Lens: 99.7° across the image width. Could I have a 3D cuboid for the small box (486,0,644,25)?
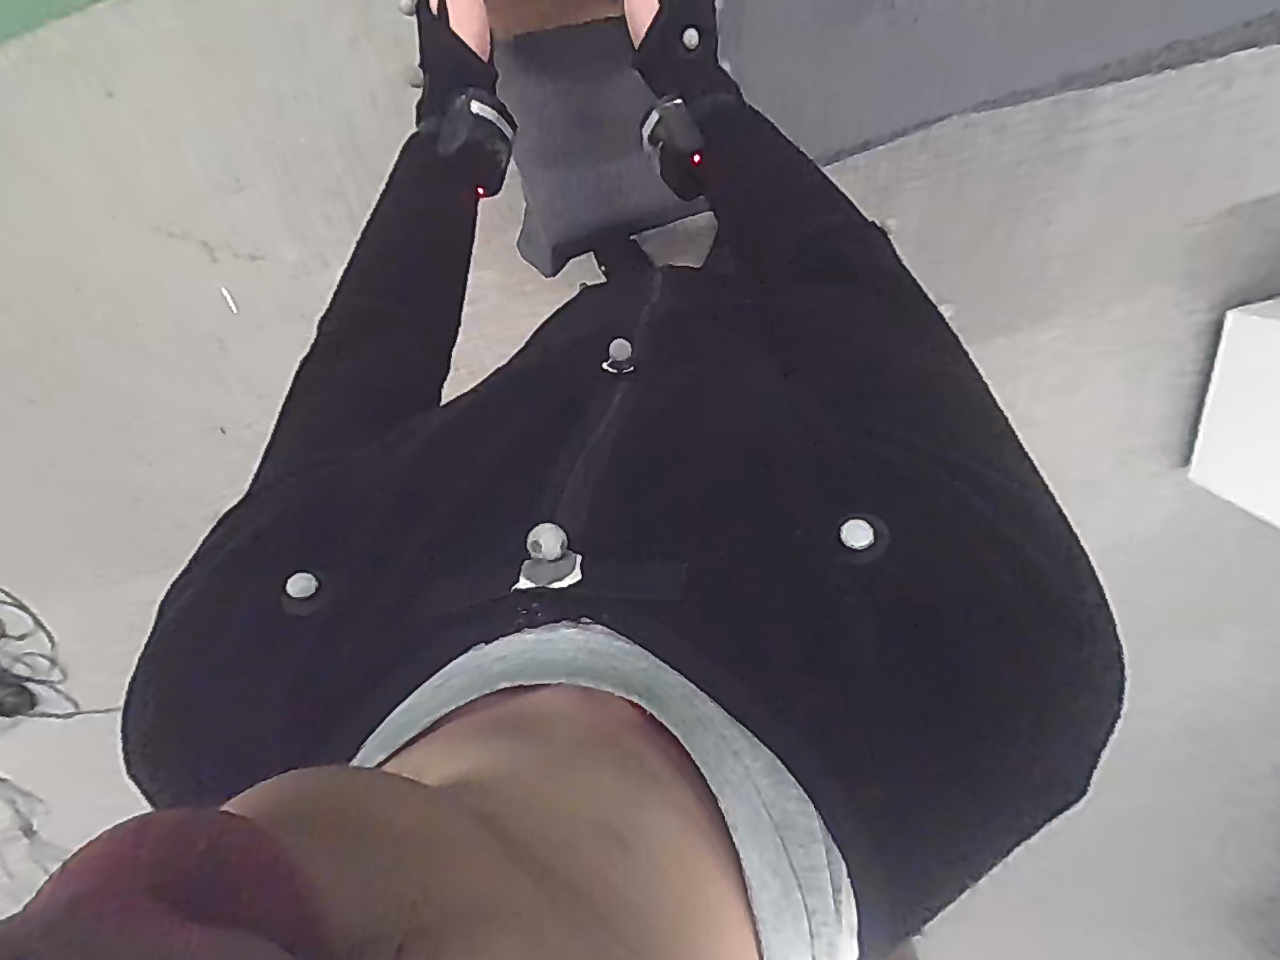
[{"bbox_3d":[-0.070,-0.527,0.460,0.179,0.176,0.168,-7,114,3],"label":"small box"}]
